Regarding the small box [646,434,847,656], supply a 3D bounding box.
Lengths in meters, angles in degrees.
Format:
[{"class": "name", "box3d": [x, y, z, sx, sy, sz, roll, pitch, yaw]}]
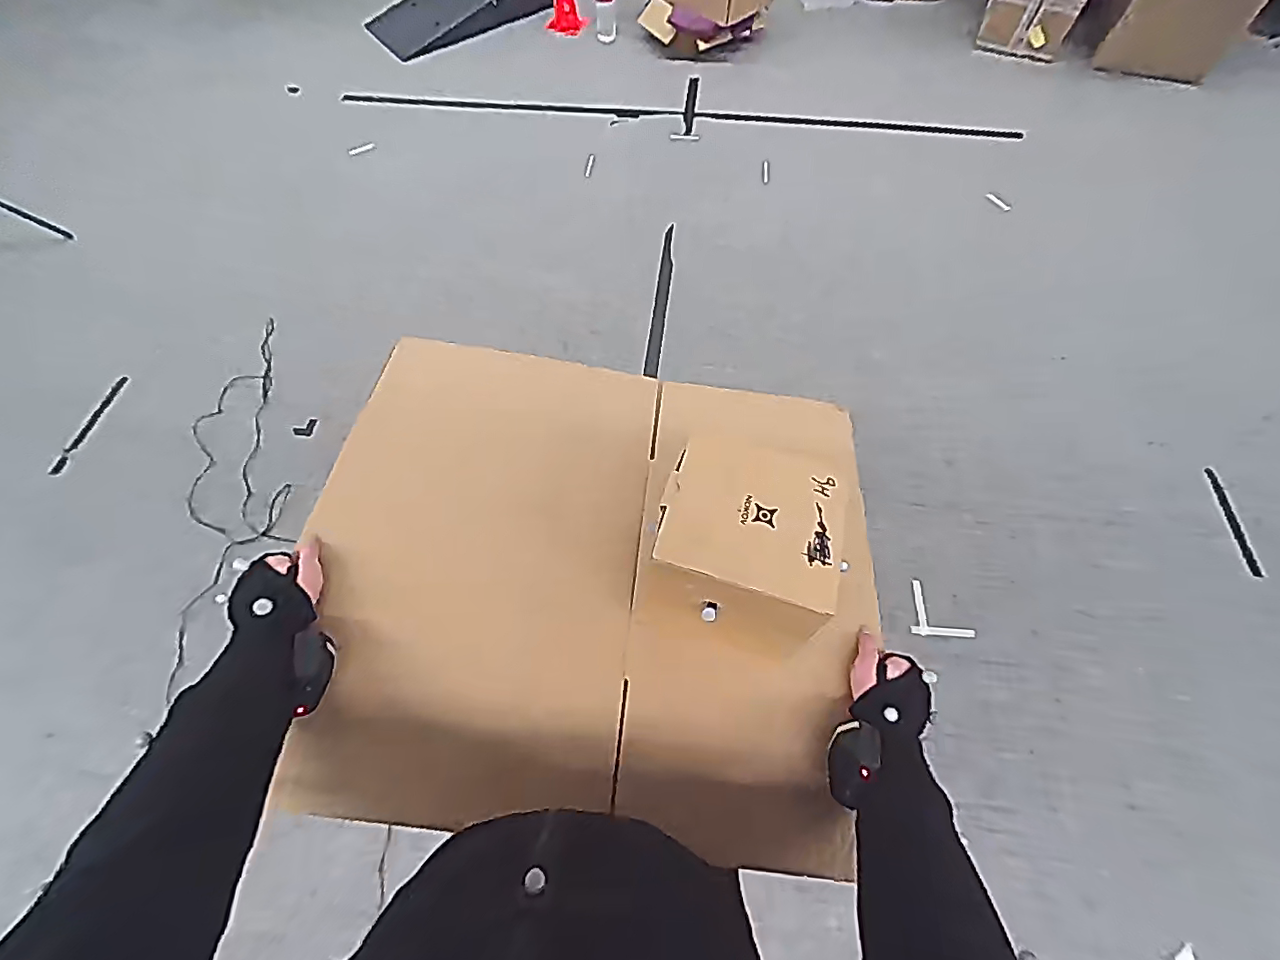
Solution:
[{"class": "small box", "box3d": [0.111, 0.079, 0.608, 0.179, 0.176, 0.168, 16, 57, 7]}]
